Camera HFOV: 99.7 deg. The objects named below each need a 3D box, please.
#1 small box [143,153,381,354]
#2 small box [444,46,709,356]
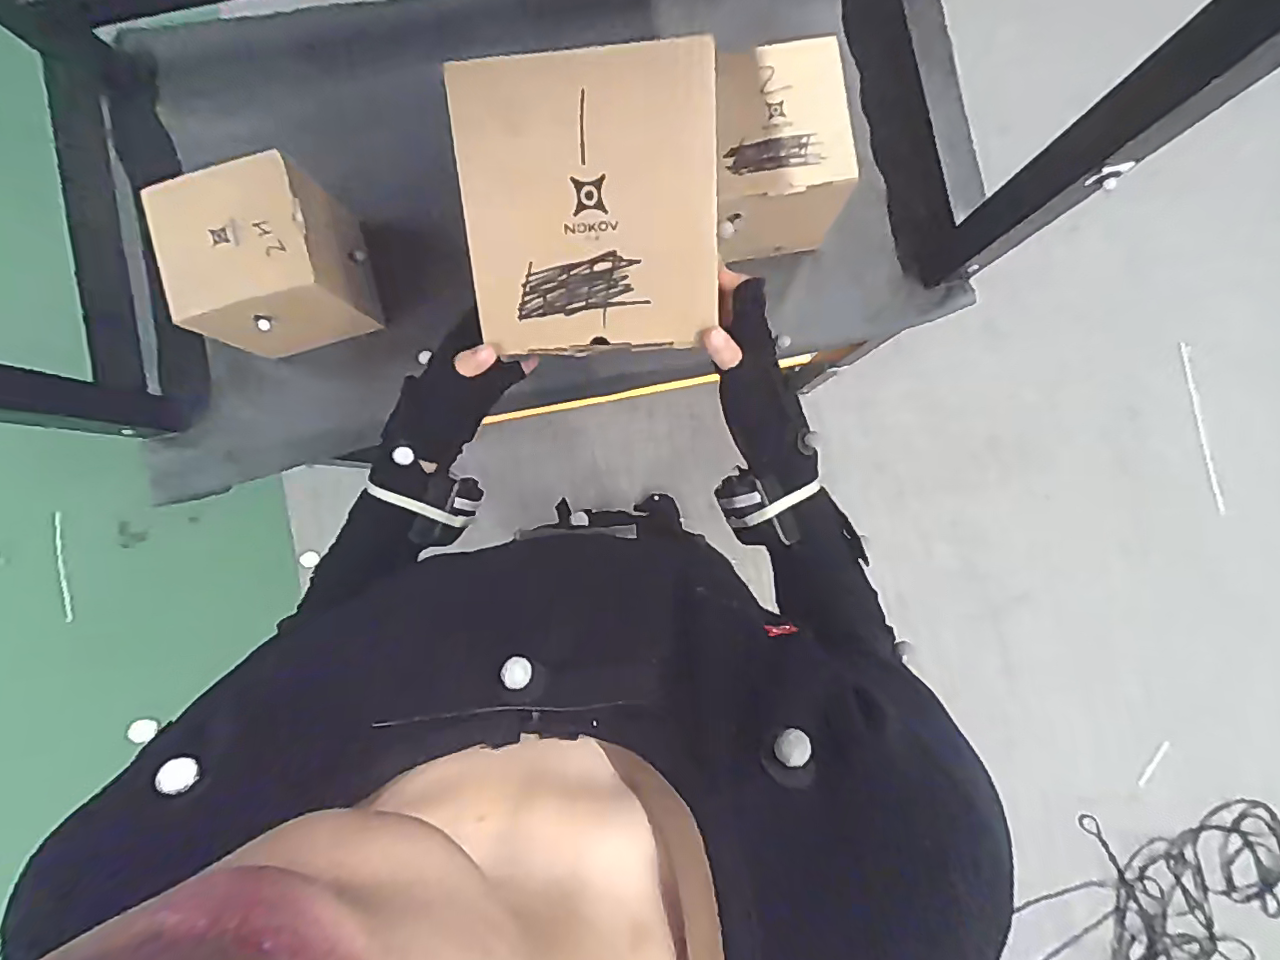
[{"bbox_3d":[-0.477,-0.279,0.708,0.179,0.176,0.168,-15,88,0],"label":"small box"},{"bbox_3d":[-0.030,-0.197,0.427,0.168,0.176,0.179,-1,107,5],"label":"small box"}]
